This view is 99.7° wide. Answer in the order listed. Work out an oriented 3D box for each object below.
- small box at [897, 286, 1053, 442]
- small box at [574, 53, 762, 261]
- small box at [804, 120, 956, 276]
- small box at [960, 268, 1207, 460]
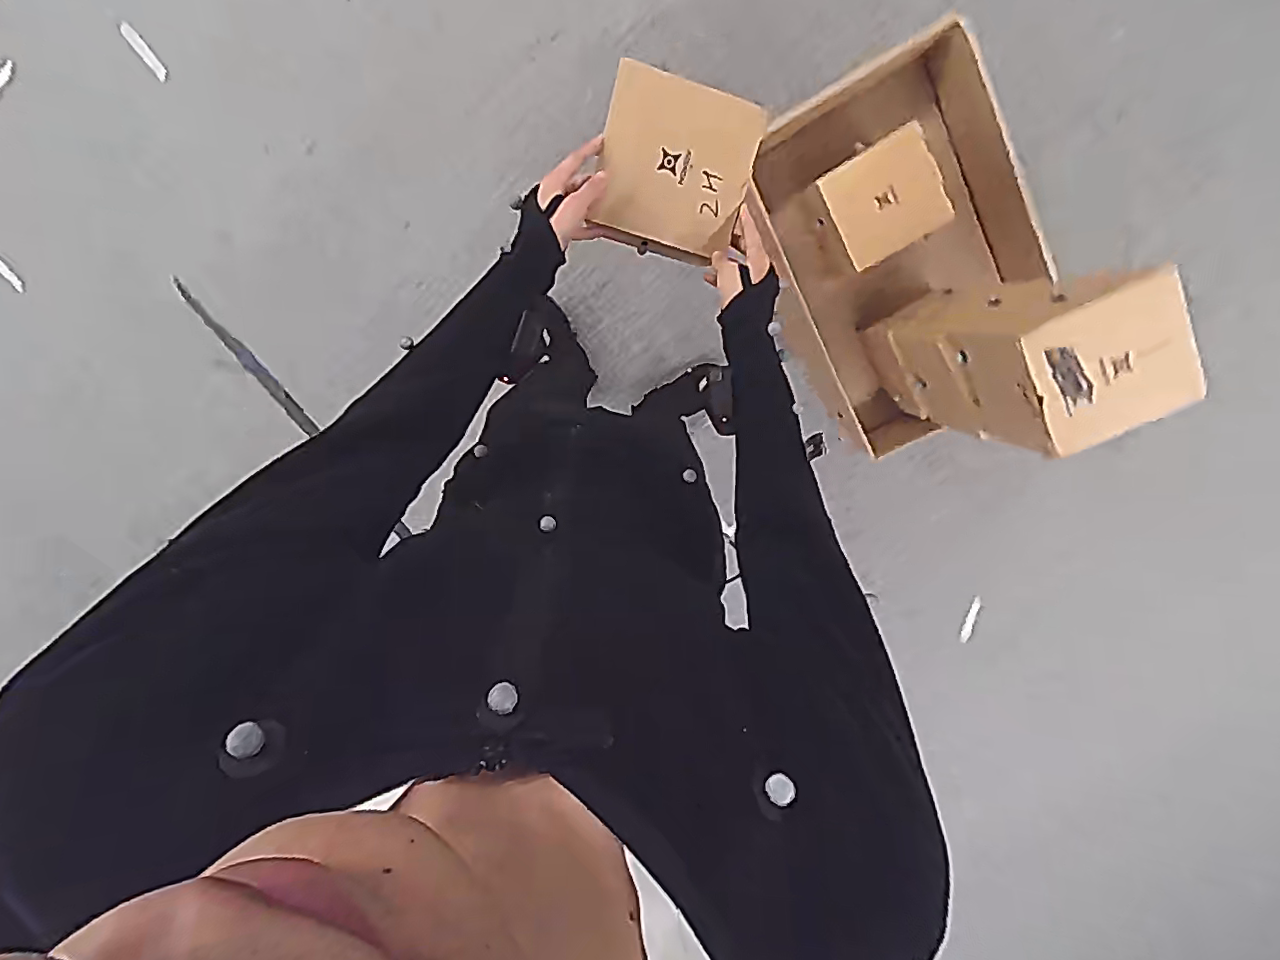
[{"bbox_3d":[0.544,-0.189,0.858,0.168,0.176,0.179,-29,104,11],"label":"small box"},{"bbox_3d":[0.024,-0.380,0.676,0.179,0.176,0.168,13,109,-8],"label":"small box"},{"bbox_3d":[0.407,-0.480,0.954,0.179,0.176,0.168,-28,103,11],"label":"small box"},{"bbox_3d":[0.547,-0.148,0.697,0.179,0.176,0.168,-25,104,10],"label":"small box"}]
